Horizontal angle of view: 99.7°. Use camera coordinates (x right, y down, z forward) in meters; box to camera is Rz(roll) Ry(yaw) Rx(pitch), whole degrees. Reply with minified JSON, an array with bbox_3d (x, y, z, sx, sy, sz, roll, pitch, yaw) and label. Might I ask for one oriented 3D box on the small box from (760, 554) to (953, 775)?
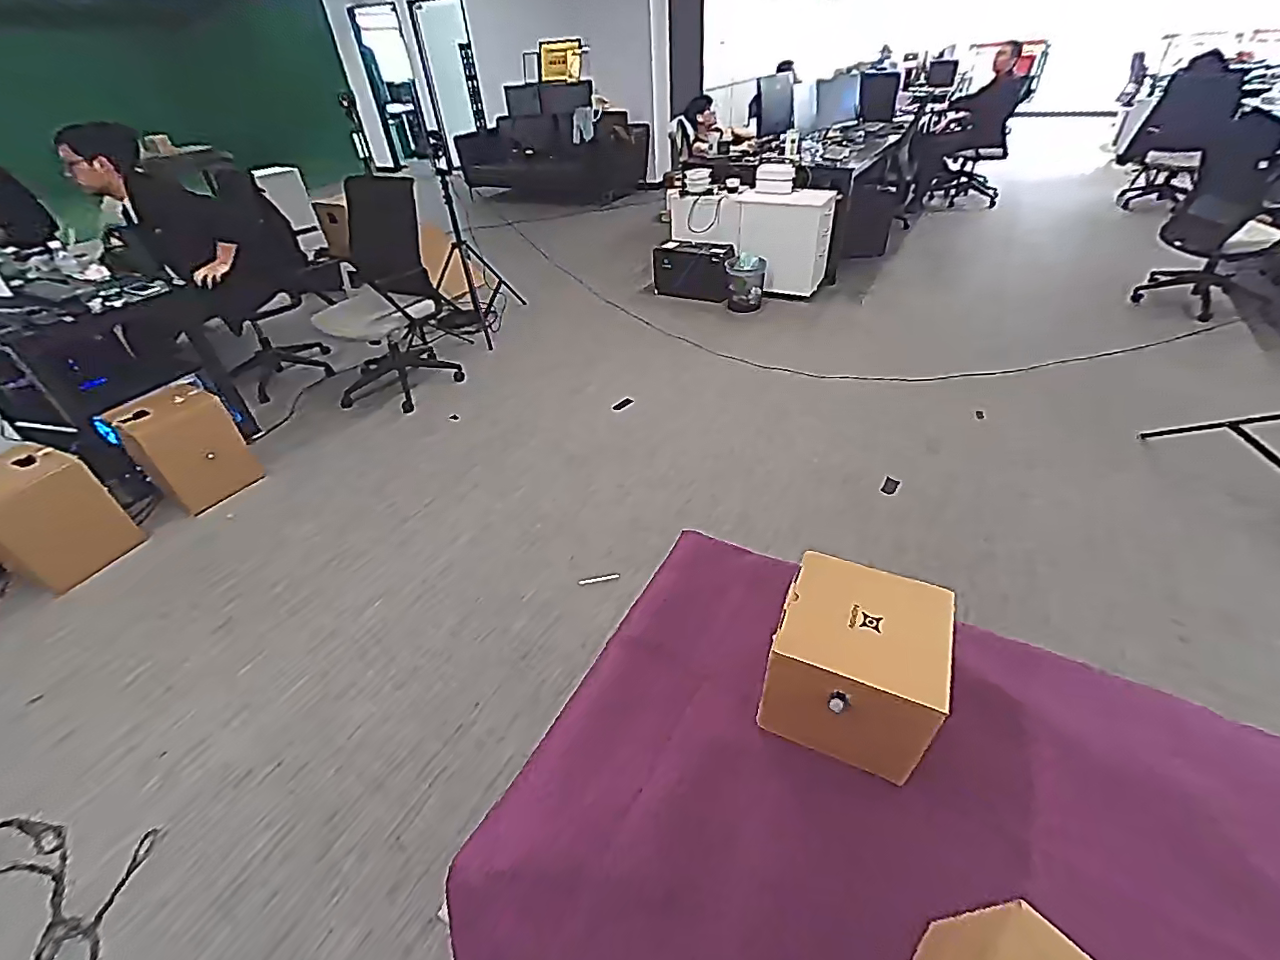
[{"bbox_3d":[0.258,0.225,0.660,0.179,0.176,0.168,14,42,22],"label":"small box"}]
